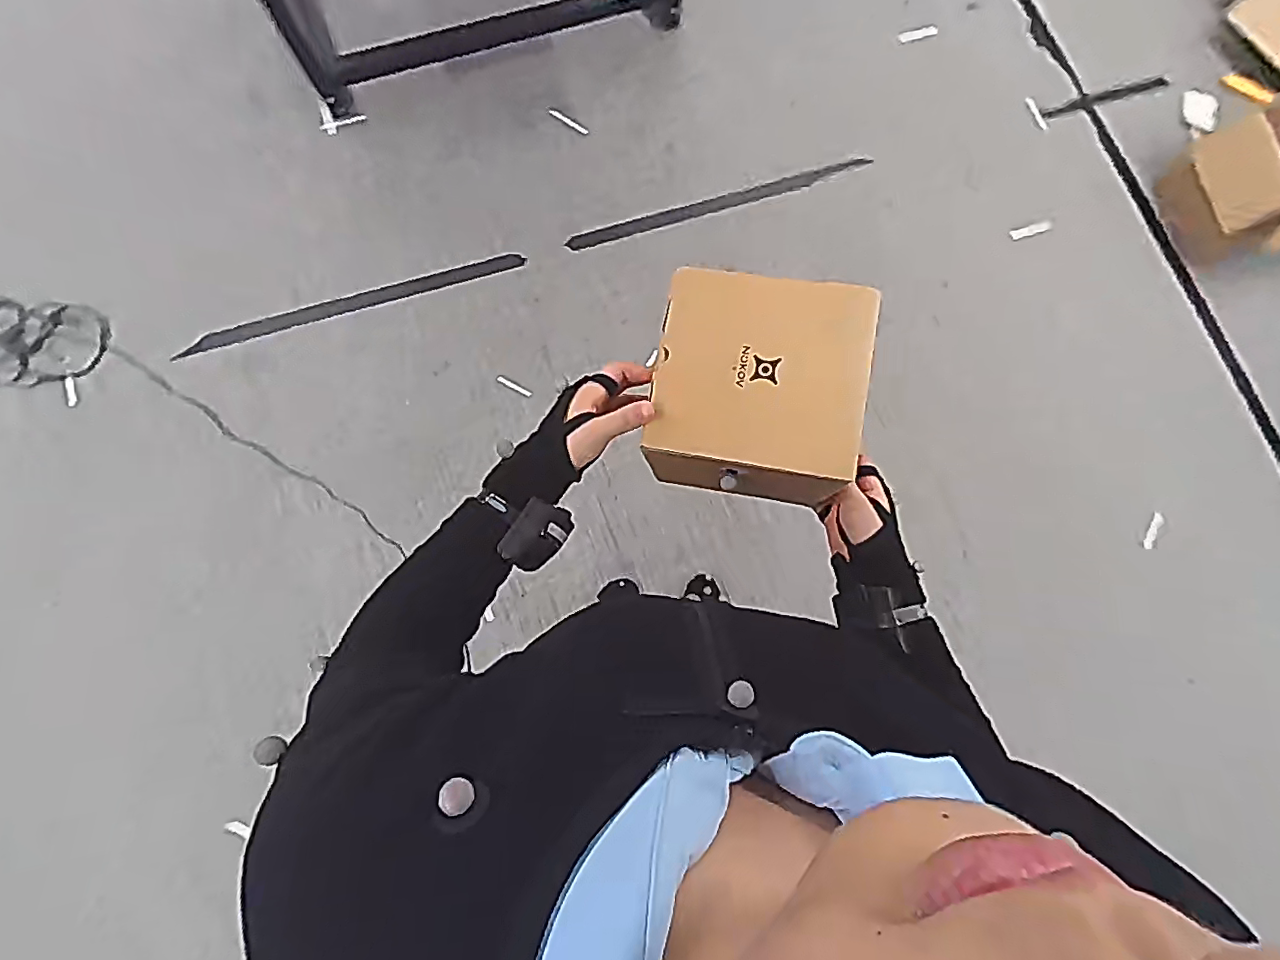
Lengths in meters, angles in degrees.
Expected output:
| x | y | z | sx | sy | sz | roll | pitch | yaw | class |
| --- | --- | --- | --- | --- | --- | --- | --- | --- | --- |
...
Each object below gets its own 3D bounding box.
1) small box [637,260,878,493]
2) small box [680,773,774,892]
| x | y | z | sx | sy | sz | roll | pitch | yaw | class |
| --- | --- | --- | --- | --- | --- | --- | --- | --- | --- |
| 0.106 | -0.085 | 0.521 | 0.179 | 0.176 | 0.168 | 9 | 82 | 9 | small box |
| 0.205 | 0.849 | 1.328 | 0.168 | 0.176 | 0.179 | -17 | 82 | -6 | small box |
